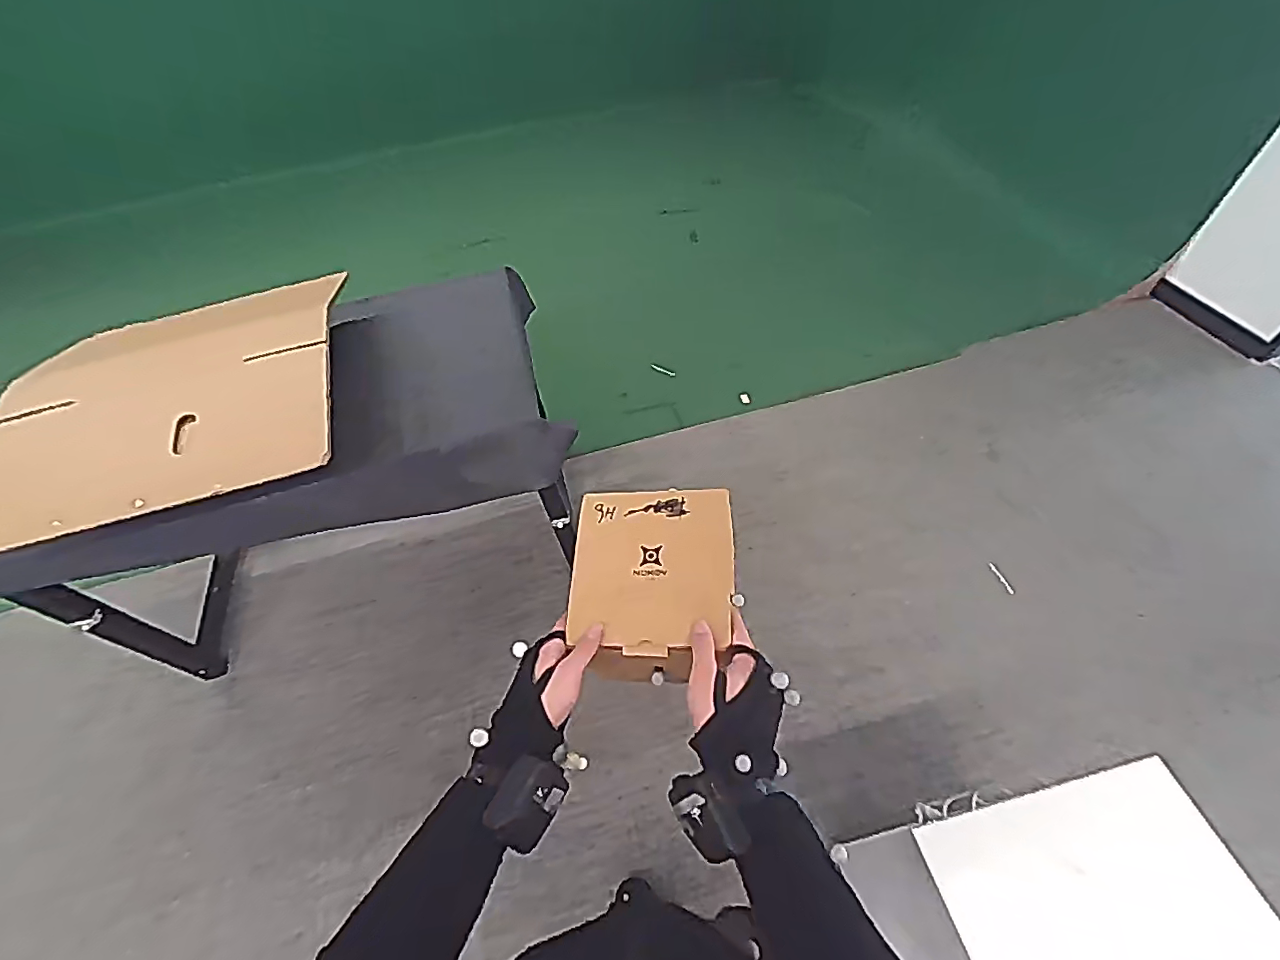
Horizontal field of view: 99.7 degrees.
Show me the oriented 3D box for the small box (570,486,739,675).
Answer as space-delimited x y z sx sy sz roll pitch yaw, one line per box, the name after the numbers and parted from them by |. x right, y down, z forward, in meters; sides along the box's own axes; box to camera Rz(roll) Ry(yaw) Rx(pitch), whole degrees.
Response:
0.026 0.127 0.637 0.168 0.176 0.179 -4 58 10 | small box
